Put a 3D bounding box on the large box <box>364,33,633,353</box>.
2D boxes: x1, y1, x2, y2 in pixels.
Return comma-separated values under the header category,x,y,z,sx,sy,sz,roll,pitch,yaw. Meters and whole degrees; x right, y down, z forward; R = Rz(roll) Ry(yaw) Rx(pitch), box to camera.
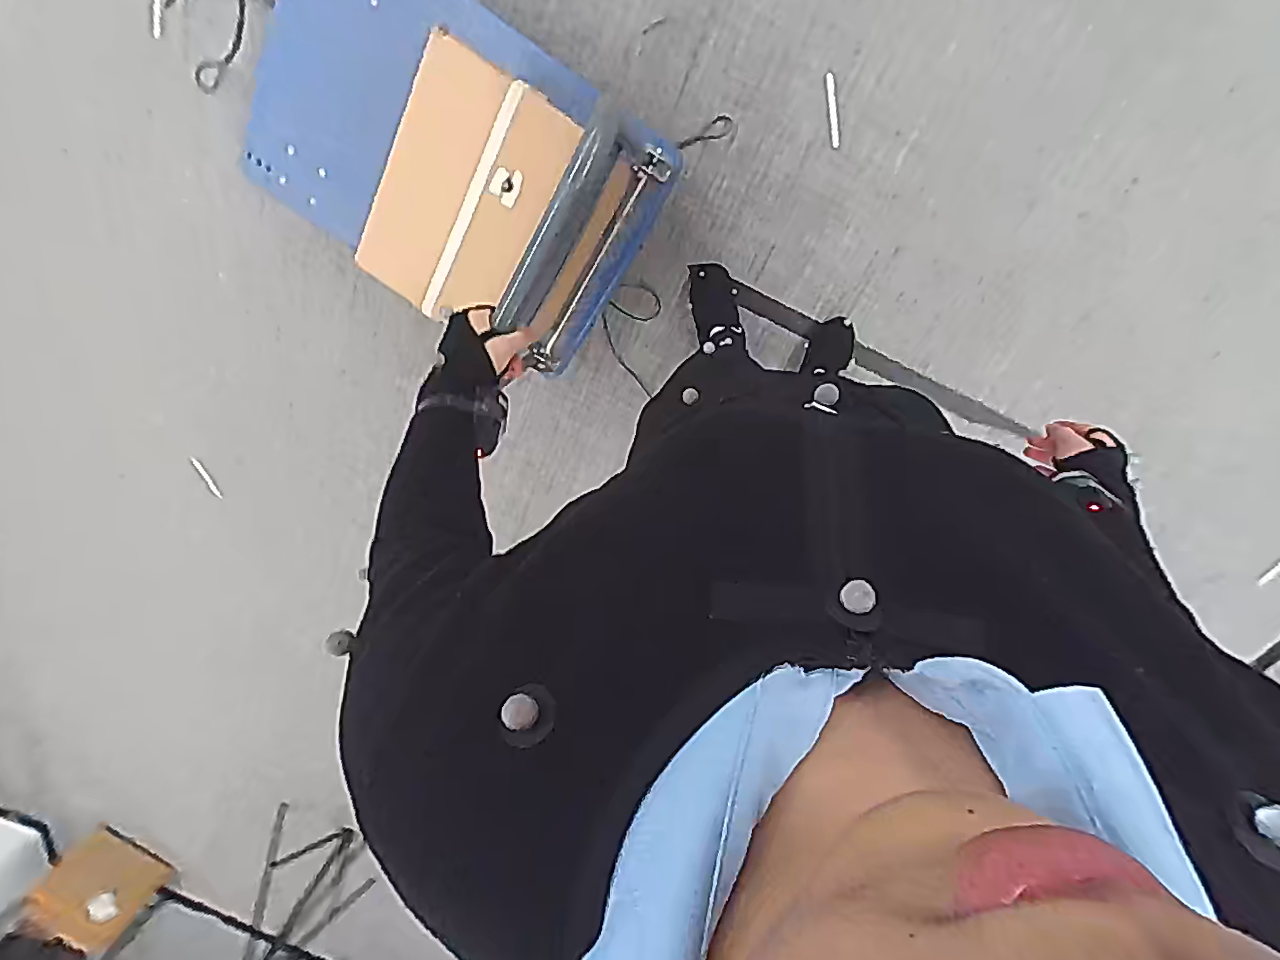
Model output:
category,x,y,z,sx,sy,sz,roll,pitch,yaw
large box,-0.261,-0.522,1.067,0.320,0.320,0.408,33,114,-5
